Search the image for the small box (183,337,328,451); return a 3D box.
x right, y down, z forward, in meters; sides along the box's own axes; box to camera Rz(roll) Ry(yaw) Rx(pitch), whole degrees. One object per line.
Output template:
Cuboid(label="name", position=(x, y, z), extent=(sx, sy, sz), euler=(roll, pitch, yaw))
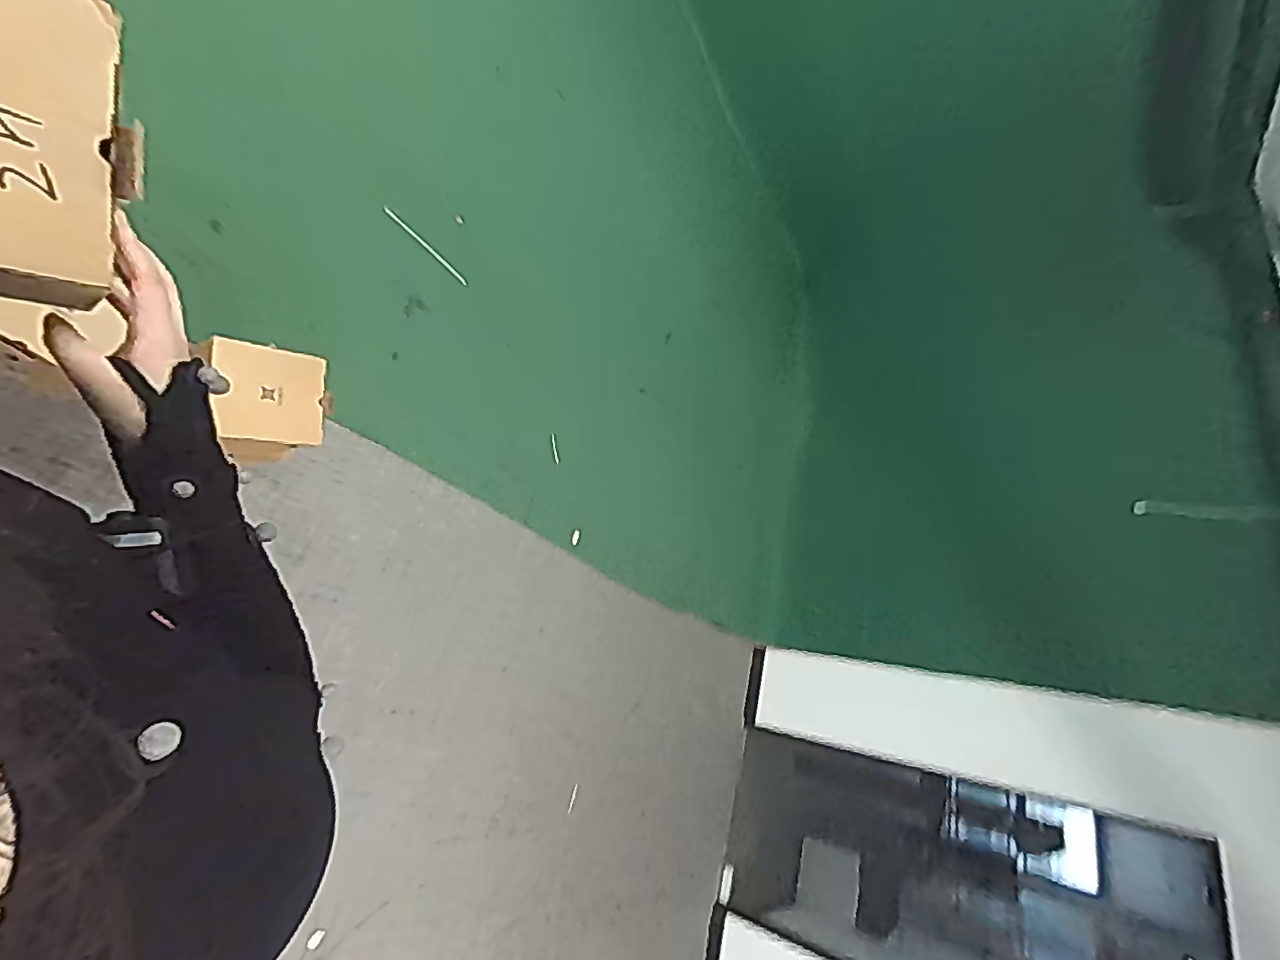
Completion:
Cuboid(label="small box", position=(-0.698, -0.144, 0.981), extent=(0.179, 0.176, 0.168), euler=(5, 86, -53))

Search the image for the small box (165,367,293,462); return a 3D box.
Cuboid(label="small box", position=(-0.820, -0.129, 1.089), extent=(0.179, 0.176, 0.168), euler=(12, 81, -53))

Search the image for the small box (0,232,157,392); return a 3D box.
Cuboid(label="small box", position=(-0.968, -0.267, 0.897), extent=(0.168, 0.176, 0.179), euler=(46, 53, -40))

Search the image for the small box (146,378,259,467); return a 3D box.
Cuboid(label="small box", position=(-0.942, -0.131, 1.197), extent=(0.179, 0.176, 0.168), euler=(31, 65, -48))
